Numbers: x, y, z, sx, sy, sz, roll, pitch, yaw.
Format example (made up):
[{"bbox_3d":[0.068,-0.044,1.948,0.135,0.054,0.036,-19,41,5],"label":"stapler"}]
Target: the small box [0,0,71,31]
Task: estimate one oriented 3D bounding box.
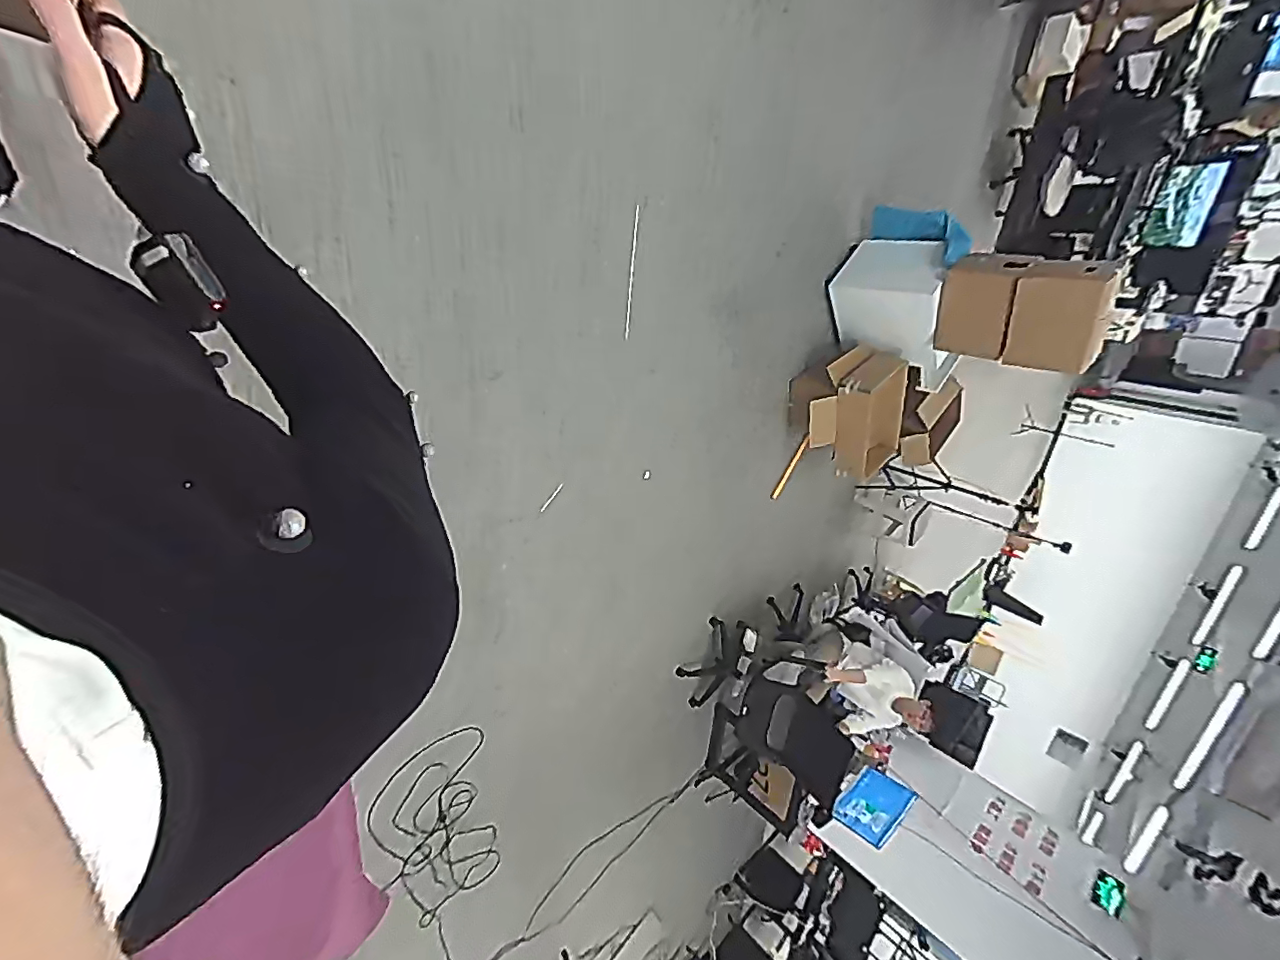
[{"bbox_3d":[-0.499,-0.433,0.345,0.179,0.176,0.168,-7,113,-45],"label":"small box"}]
